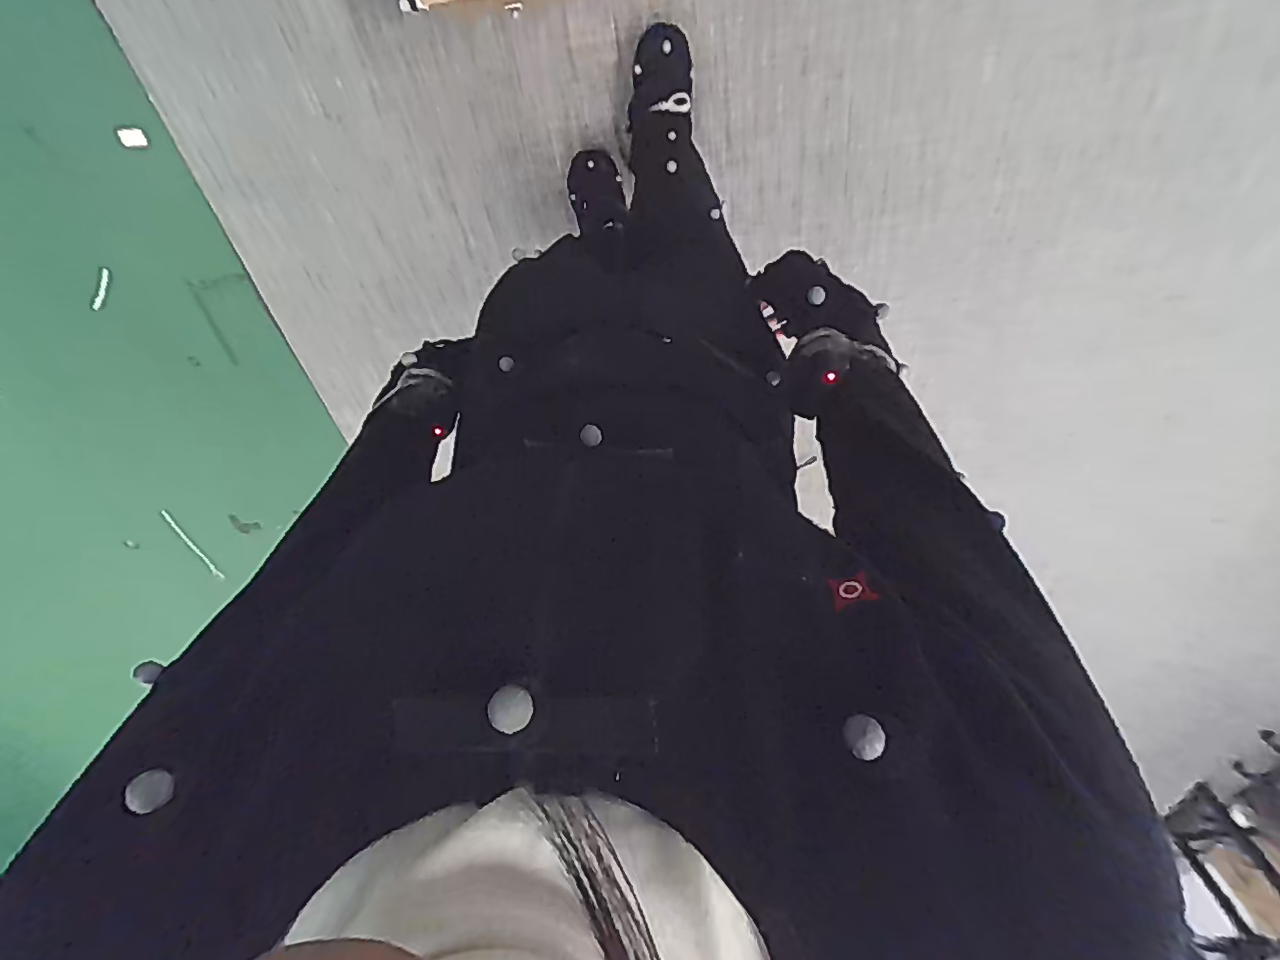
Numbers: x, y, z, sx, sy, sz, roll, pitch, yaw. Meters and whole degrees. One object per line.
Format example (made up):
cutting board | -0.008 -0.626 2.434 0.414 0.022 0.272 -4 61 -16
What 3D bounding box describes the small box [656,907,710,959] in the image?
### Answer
small box | 0.150 1.585 1.850 0.168 0.176 0.179 -8 128 5
